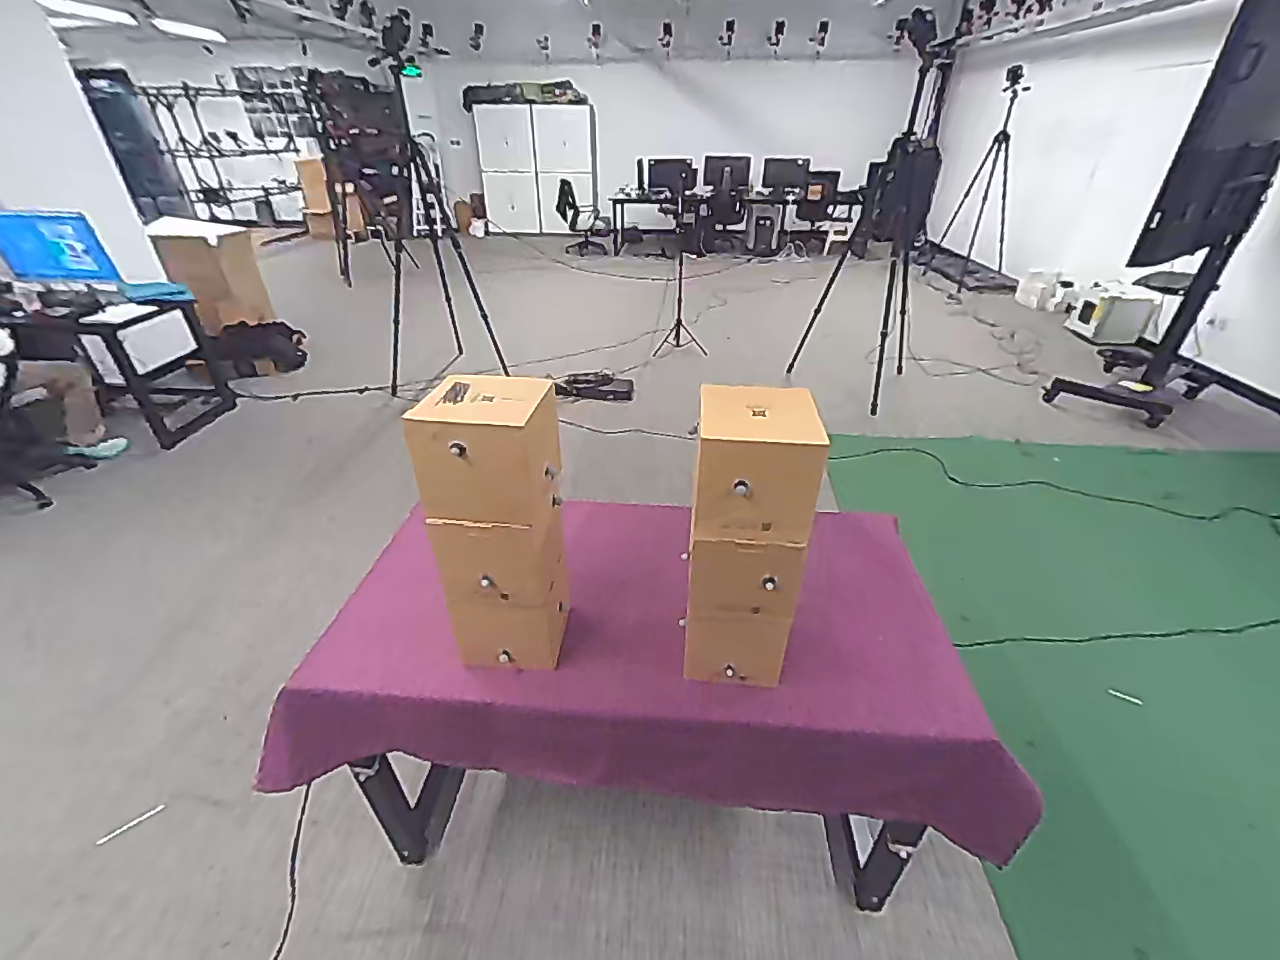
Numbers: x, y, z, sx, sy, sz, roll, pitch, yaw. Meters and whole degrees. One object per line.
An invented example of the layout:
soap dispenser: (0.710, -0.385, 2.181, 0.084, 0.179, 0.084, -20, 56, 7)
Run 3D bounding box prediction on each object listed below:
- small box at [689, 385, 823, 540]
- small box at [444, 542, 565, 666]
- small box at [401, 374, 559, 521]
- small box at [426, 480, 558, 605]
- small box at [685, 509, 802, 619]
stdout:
small box: (0.162, -0.028, 0.806, 0.168, 0.176, 0.179, 3, 33, 4)
small box: (-0.240, 0.227, 1.009, 0.179, 0.176, 0.168, 3, 33, 2)
small box: (-0.232, -0.052, 0.833, 0.179, 0.176, 0.168, 4, 33, 5)
small box: (-0.238, 0.086, 0.923, 0.168, 0.176, 0.179, 3, 33, 4)
small box: (0.162, 0.109, 0.894, 0.168, 0.176, 0.179, 3, 33, 4)
